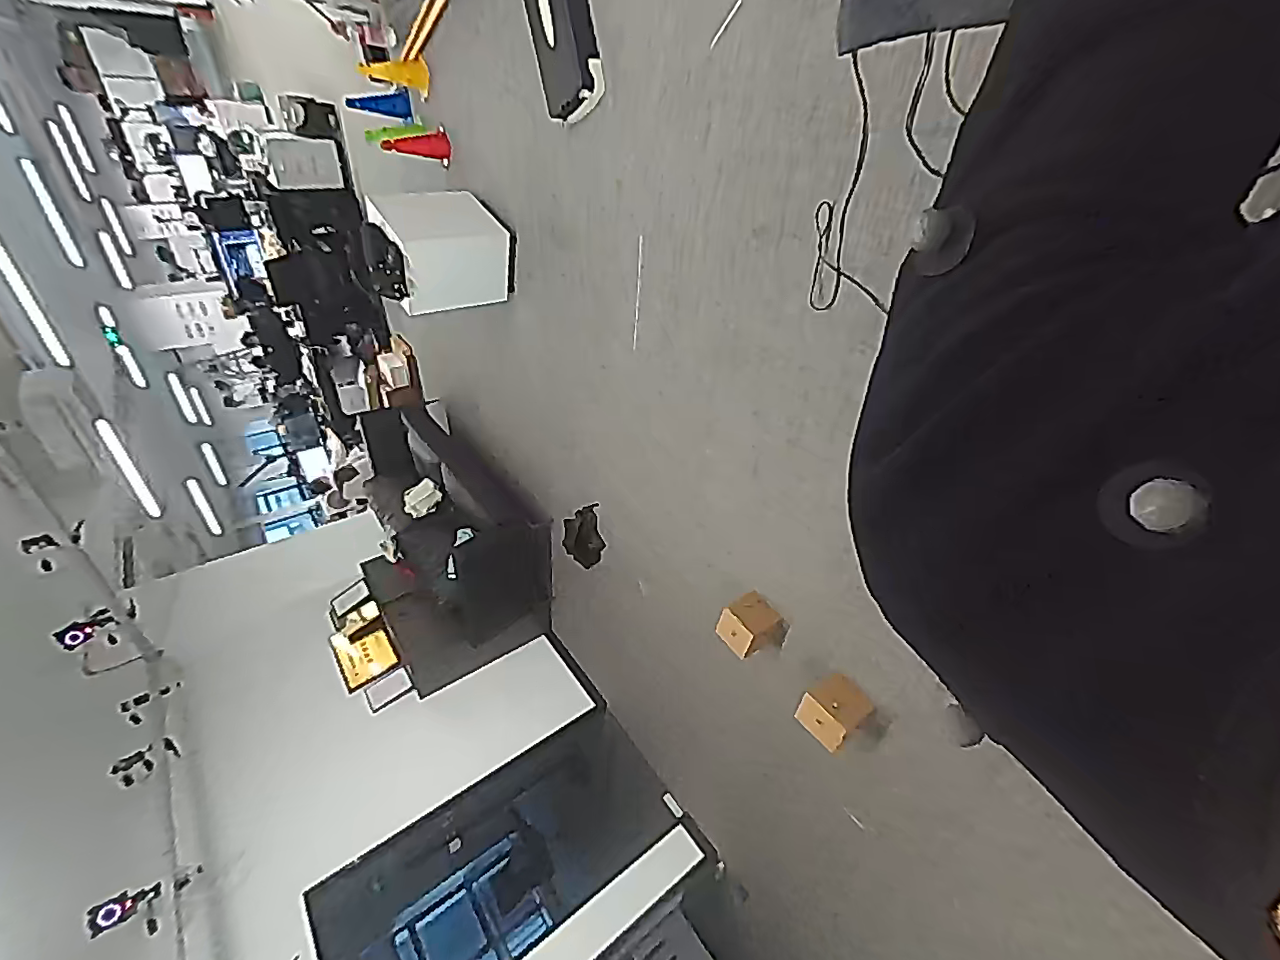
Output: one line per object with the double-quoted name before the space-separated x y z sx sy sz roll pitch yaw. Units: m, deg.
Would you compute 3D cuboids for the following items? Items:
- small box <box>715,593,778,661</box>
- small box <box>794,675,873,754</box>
"small box" 0.432 0.586 2.179 0.168 0.176 0.179 45 142 35
"small box" 0.690 0.827 1.931 0.179 0.176 0.168 40 138 37
